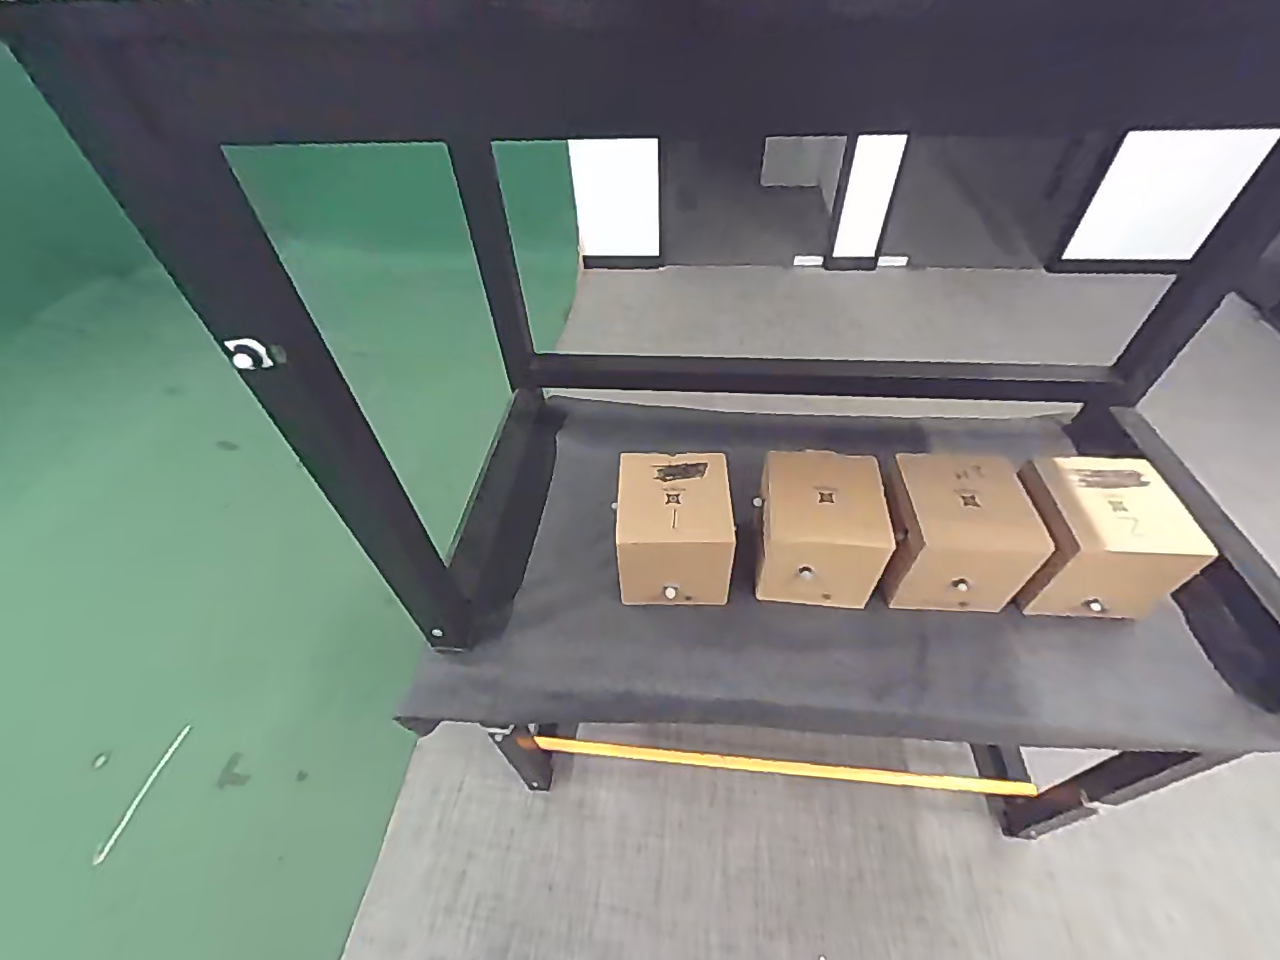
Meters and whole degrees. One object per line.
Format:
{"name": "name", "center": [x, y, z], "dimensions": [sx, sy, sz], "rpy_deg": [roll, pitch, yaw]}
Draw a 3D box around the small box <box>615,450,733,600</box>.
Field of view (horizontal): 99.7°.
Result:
{"name": "small box", "center": [0.050, 0.071, 0.859], "dimensions": [0.168, 0.176, 0.179], "rpy_deg": [-1, 48, 2]}
